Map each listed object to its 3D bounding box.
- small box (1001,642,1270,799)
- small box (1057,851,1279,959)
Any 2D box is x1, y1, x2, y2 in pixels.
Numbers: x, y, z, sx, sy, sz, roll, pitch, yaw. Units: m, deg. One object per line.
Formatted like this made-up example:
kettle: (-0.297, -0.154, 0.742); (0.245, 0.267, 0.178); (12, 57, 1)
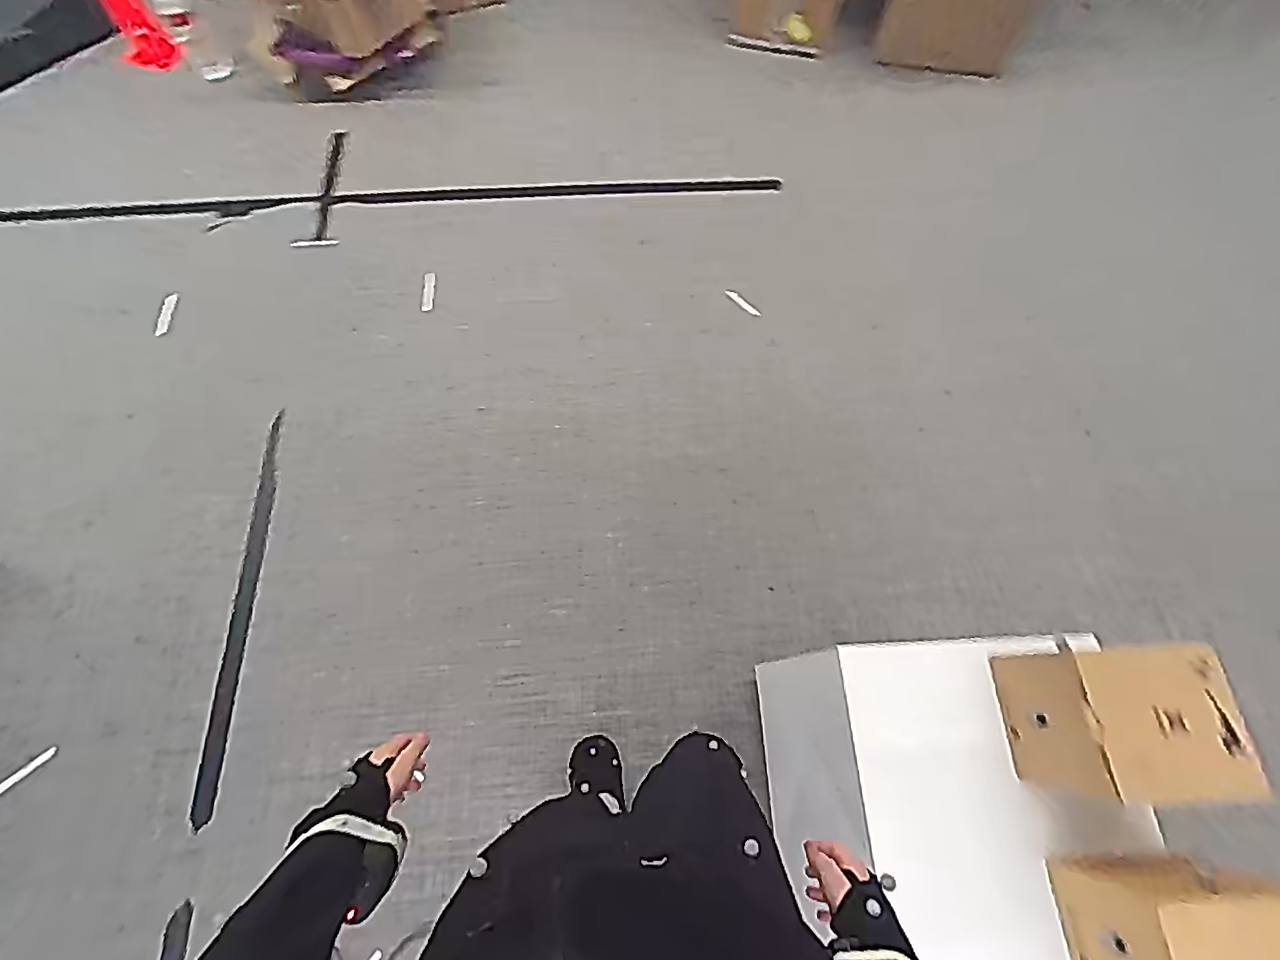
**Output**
small box: (0.605, 0.302, 0.696); (0.179, 0.176, 0.168); (-2, 70, 0)
small box: (0.618, 0.536, 0.607); (0.179, 0.176, 0.168); (-2, 69, -1)
